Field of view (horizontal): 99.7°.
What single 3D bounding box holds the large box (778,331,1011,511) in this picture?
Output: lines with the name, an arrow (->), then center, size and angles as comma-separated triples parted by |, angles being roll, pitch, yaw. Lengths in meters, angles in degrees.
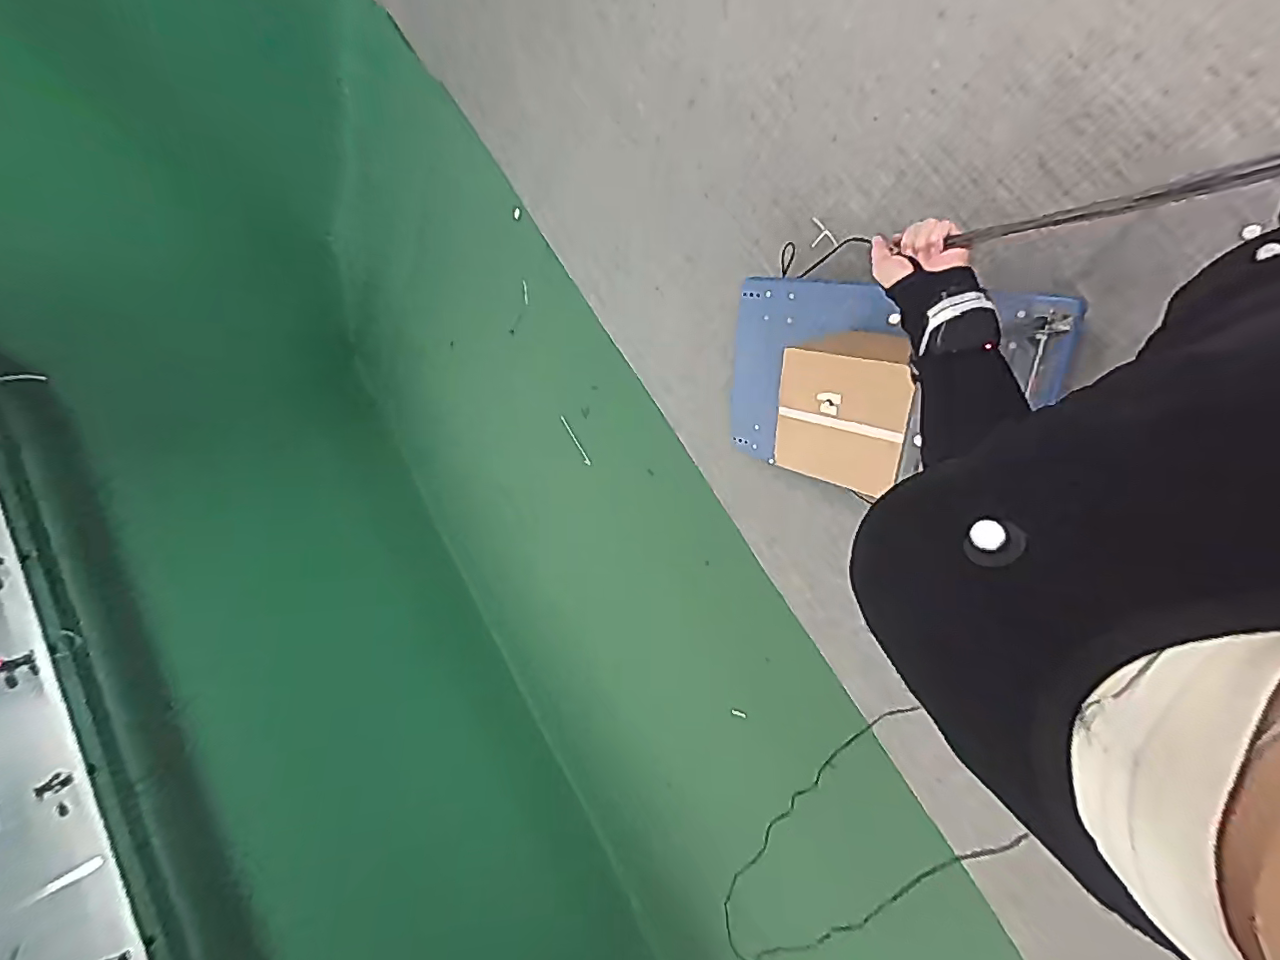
large box -> 0.602, -0.170, 1.316 | 0.408, 0.320, 0.320 | 23, 124, 42
